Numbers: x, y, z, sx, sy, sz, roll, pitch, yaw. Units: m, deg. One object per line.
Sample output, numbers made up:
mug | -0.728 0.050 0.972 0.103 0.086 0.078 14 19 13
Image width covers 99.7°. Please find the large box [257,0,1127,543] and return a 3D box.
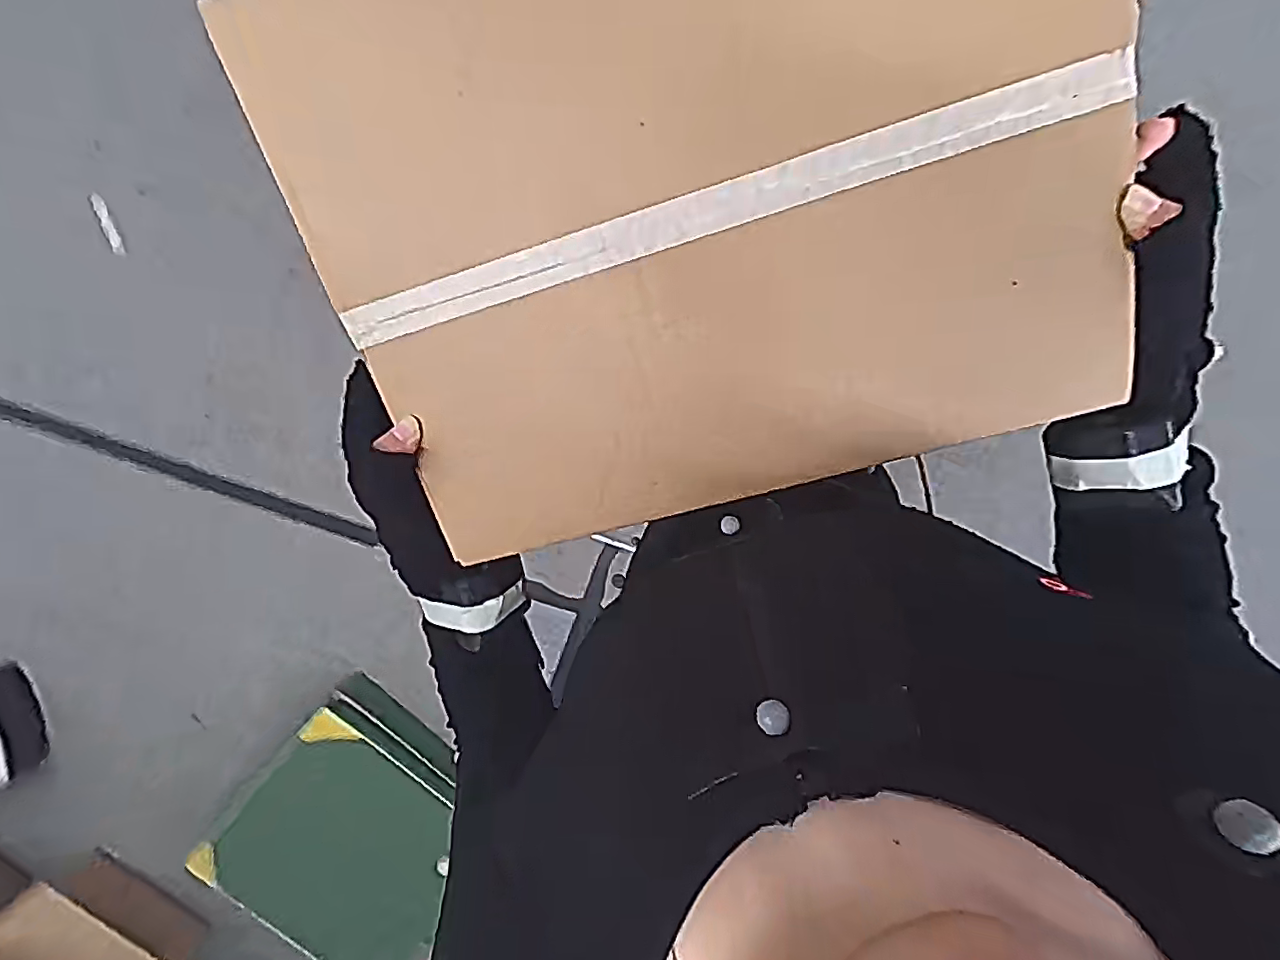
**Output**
large box | 0.044 -0.191 0.425 0.408 0.320 0.320 -13 110 8
